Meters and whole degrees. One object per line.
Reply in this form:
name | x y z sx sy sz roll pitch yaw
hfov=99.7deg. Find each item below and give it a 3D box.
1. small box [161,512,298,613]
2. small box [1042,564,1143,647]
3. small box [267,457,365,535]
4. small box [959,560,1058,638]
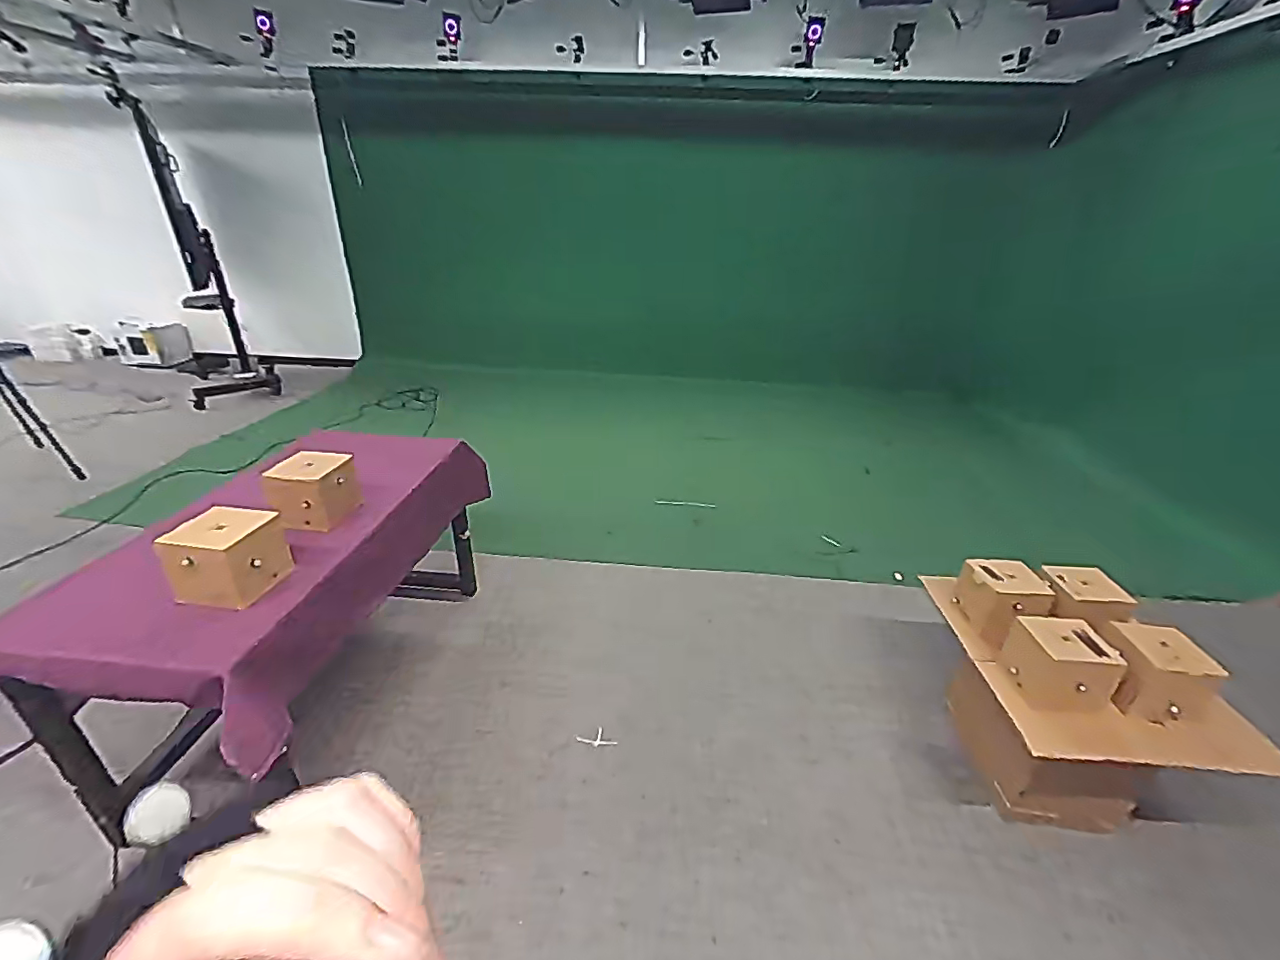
small box | -0.958 0.194 1.280 0.179 0.176 0.168 4 26 8
small box | 1.302 0.371 1.596 0.179 0.176 0.168 4 25 2
small box | -0.934 0.047 1.580 0.168 0.176 0.179 5 26 6
small box | 1.088 0.355 1.619 0.179 0.176 0.168 2 26 -1
